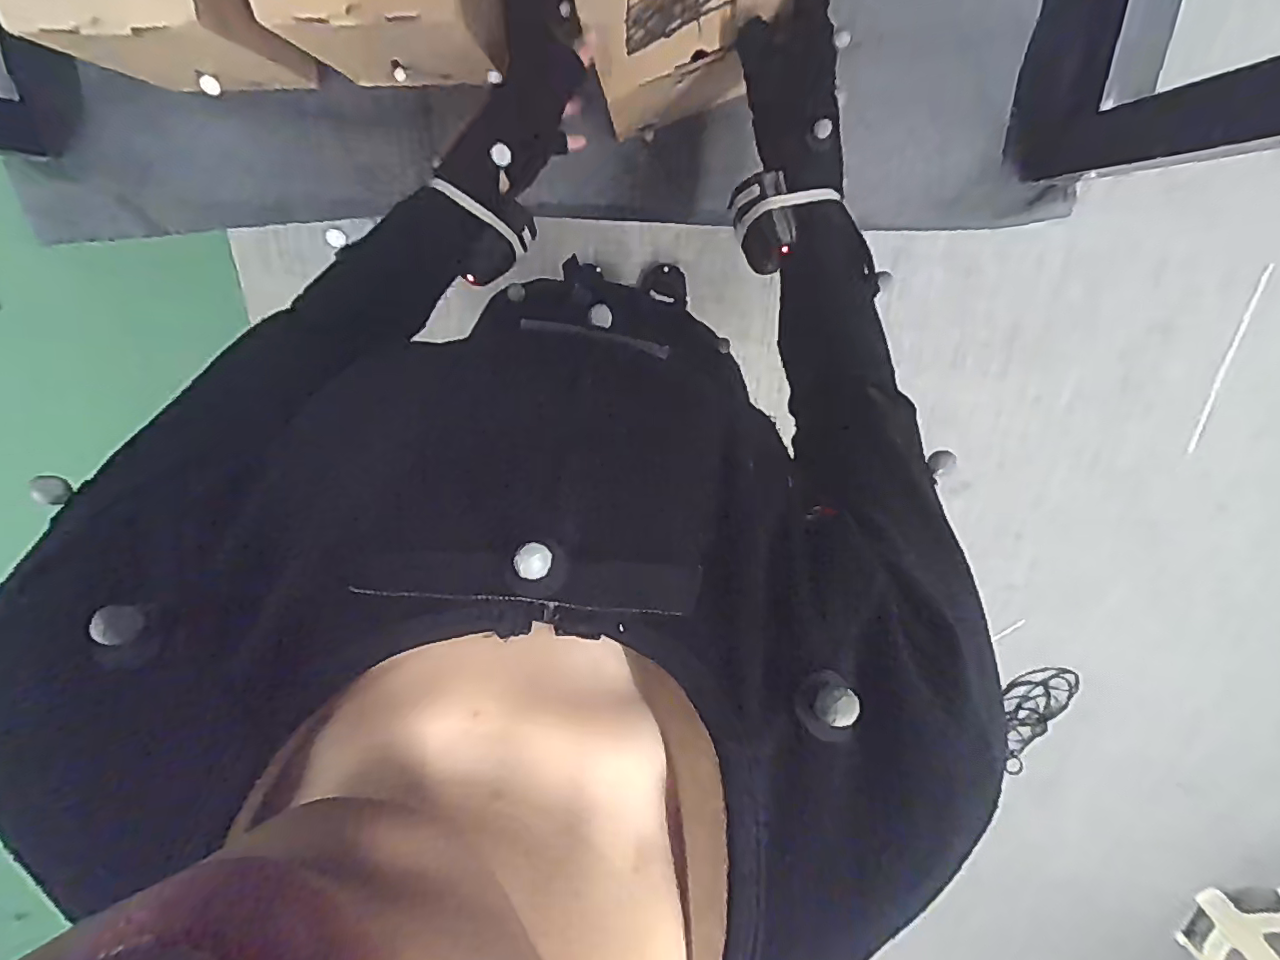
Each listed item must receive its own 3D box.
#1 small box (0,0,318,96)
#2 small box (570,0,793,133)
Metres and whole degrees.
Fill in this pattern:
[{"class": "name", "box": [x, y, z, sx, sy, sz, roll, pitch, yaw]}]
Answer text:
[{"class": "small box", "box": [-0.427, -0.471, 0.481, 0.168, 0.176, 0.179, 0, 112, 1]}, {"class": "small box", "box": [0.023, -0.441, 0.485, 0.168, 0.176, 0.179, -17, 109, 8]}]
